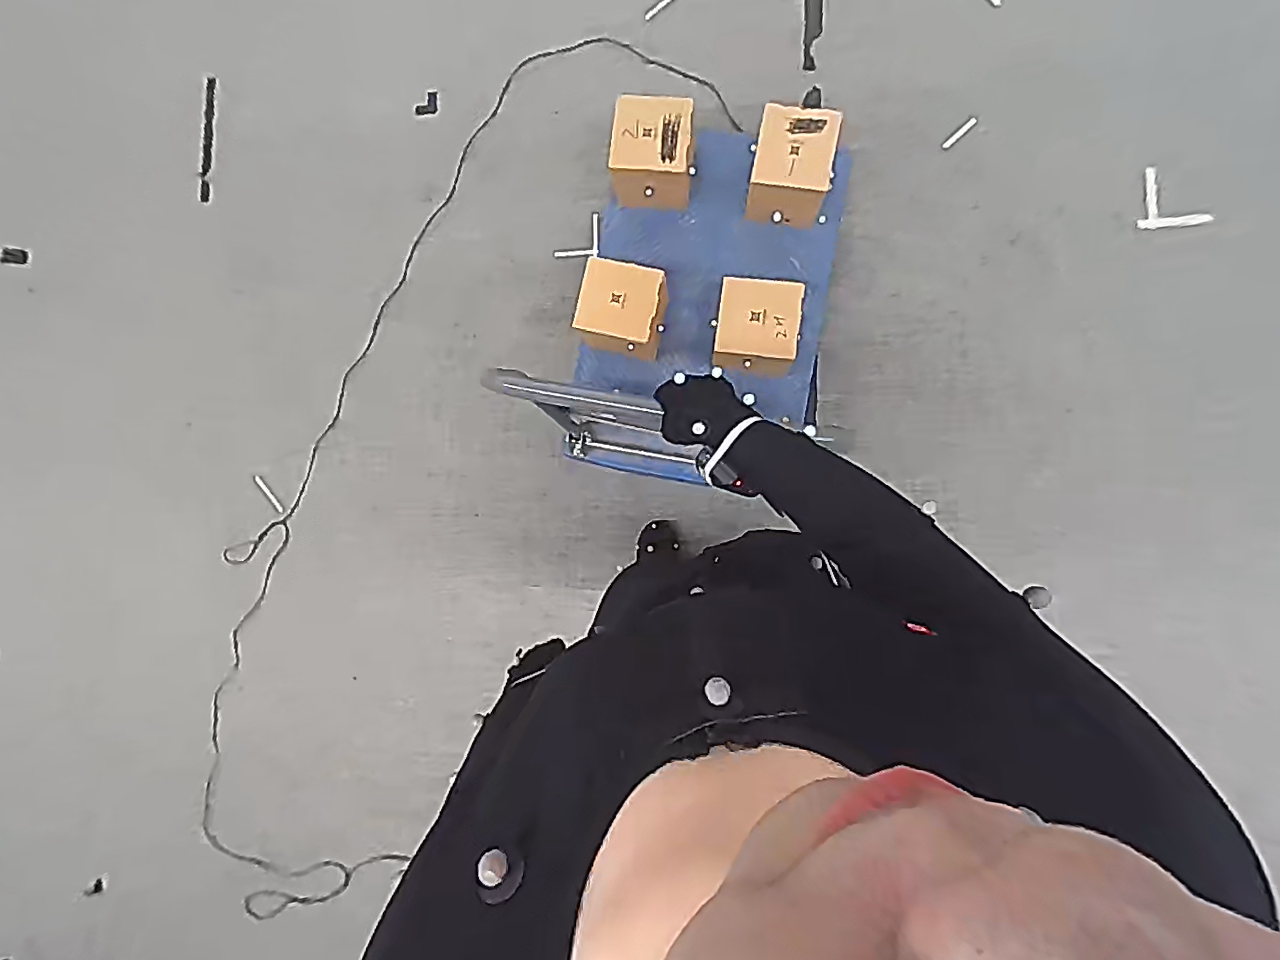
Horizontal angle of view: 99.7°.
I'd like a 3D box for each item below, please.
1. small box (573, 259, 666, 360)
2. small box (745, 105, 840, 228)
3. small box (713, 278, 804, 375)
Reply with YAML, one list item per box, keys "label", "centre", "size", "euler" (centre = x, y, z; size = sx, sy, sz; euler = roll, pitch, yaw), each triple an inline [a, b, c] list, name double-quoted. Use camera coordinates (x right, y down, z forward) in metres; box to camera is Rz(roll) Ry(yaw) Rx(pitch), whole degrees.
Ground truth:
- label: "small box"
  centre: [-0.041, -0.393, 1.272]
  size: [0.179, 0.176, 0.168]
  euler: [13, 90, 5]
- label: "small box"
  centre: [0.339, -0.710, 1.238]
  size: [0.168, 0.176, 0.179]
  euler: [11, 91, 6]
- label: "small box"
  centre: [0.263, -0.344, 1.238]
  size: [0.179, 0.176, 0.168]
  euler: [7, 90, 6]
